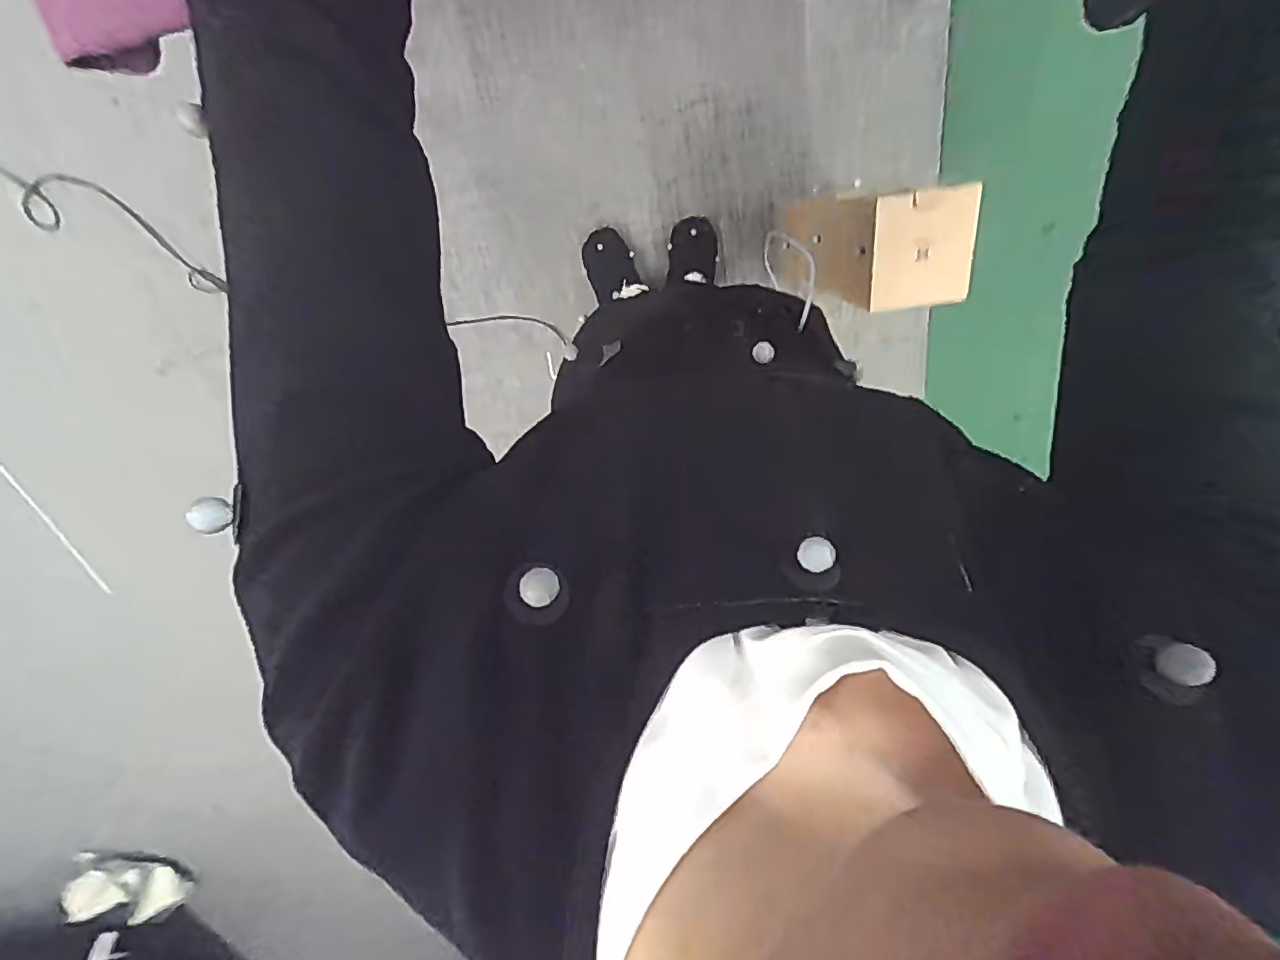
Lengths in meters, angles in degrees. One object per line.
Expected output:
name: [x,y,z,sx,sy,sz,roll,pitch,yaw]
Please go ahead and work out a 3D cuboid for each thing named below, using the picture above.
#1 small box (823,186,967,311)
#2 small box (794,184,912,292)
small box: [0.432,-0.409,0.948,0.168,0.176,0.179,-8,117,0]
small box: [0.417,-0.490,1.088,0.168,0.176,0.179,-7,117,-1]
